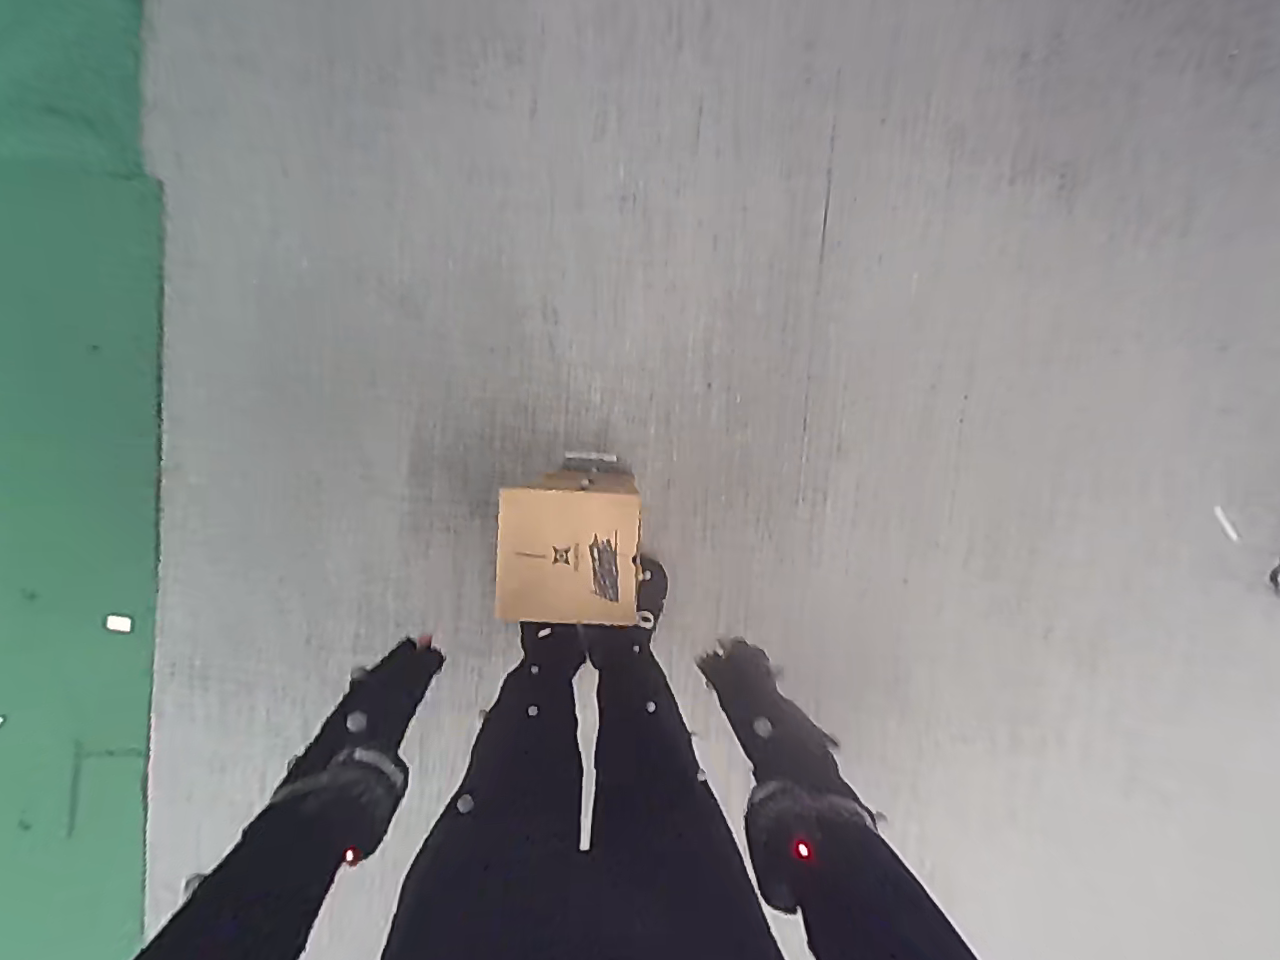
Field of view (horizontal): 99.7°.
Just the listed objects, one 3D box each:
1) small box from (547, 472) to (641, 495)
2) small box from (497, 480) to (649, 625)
[{"bbox_3d":[-0.090,0.072,1.080,0.179,0.176,0.168,3,92,0],"label":"small box"},{"bbox_3d":[-0.086,0.090,0.750,0.179,0.176,0.168,6,91,-2],"label":"small box"}]
